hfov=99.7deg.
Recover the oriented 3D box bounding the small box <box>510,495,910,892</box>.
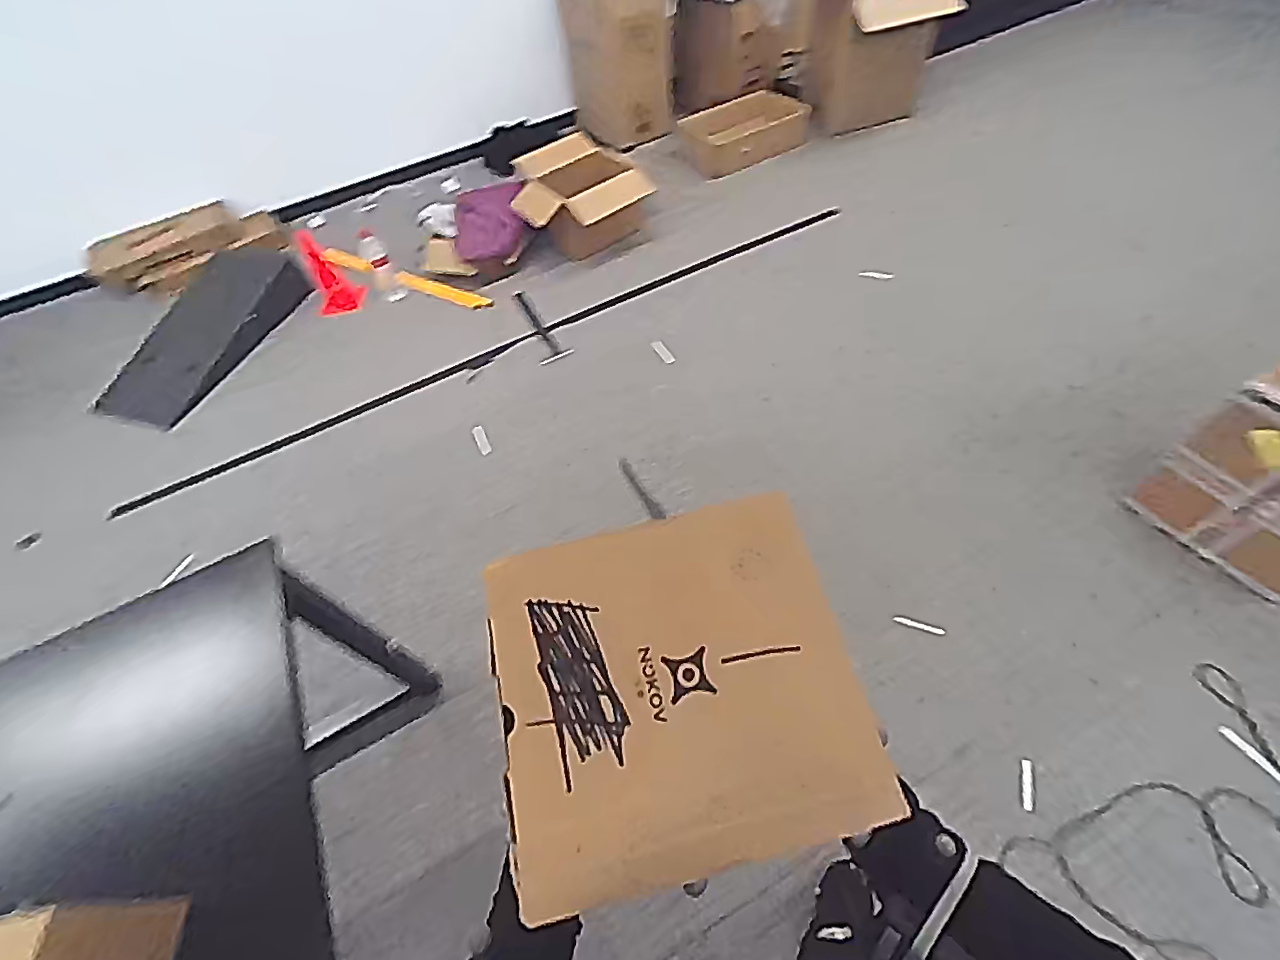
[{"bbox_3d":[0.031,0.133,0.352,0.179,0.176,0.168,-13,64,-2],"label":"small box"}]

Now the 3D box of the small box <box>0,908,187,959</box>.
[{"bbox_3d":[-0.608,0.540,0.529,0.179,0.176,0.168,-12,53,0],"label":"small box"}]
